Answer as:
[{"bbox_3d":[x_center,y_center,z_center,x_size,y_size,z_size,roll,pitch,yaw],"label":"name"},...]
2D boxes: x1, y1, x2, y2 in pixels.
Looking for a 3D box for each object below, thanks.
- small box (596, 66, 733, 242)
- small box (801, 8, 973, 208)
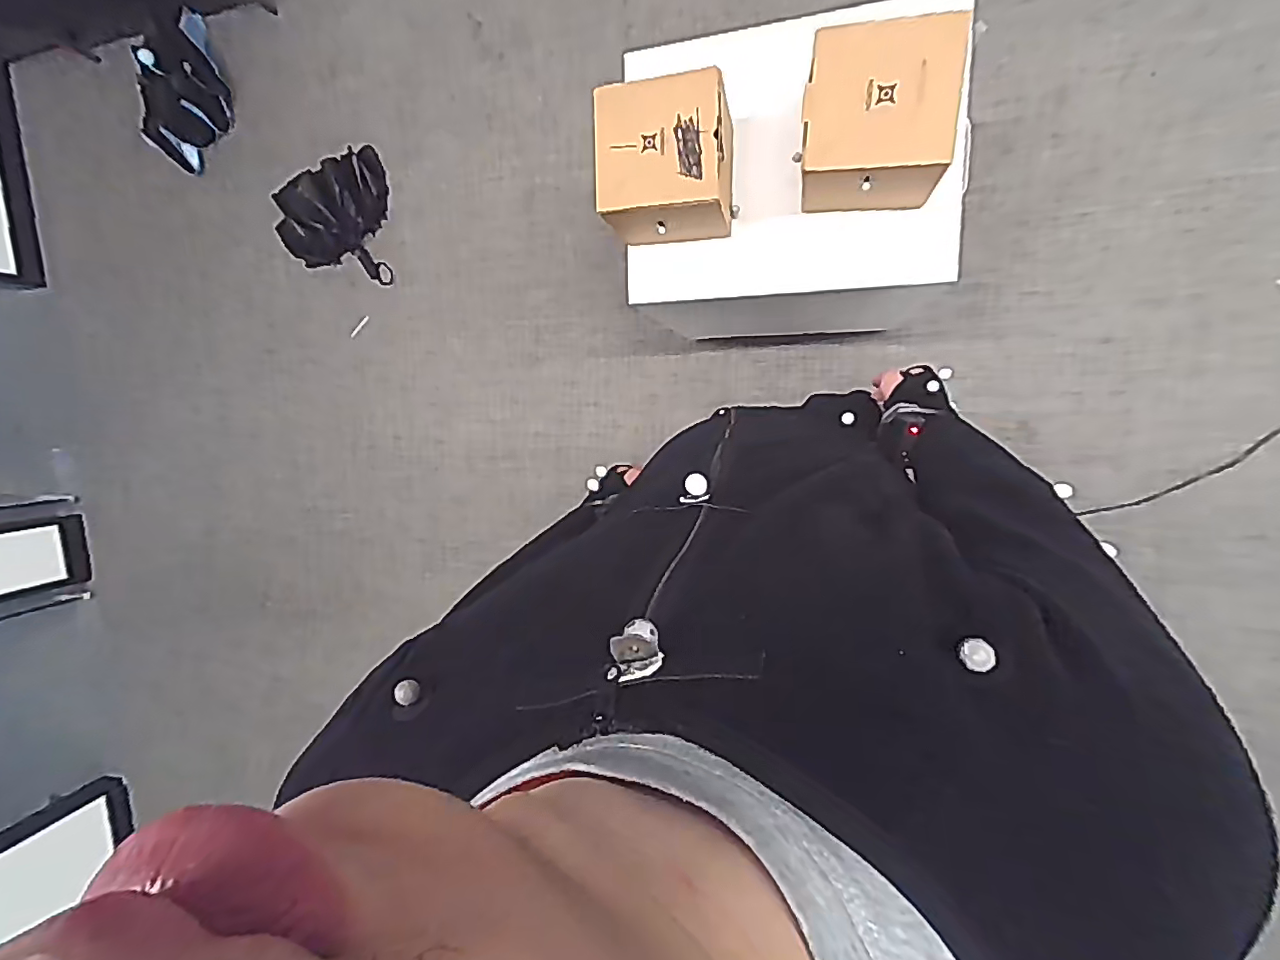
[{"bbox_3d":[0.044,-0.467,0.805,0.179,0.176,0.168,2,98,16],"label":"small box"},{"bbox_3d":[0.315,-0.478,0.727,0.179,0.176,0.168,6,101,15],"label":"small box"}]
